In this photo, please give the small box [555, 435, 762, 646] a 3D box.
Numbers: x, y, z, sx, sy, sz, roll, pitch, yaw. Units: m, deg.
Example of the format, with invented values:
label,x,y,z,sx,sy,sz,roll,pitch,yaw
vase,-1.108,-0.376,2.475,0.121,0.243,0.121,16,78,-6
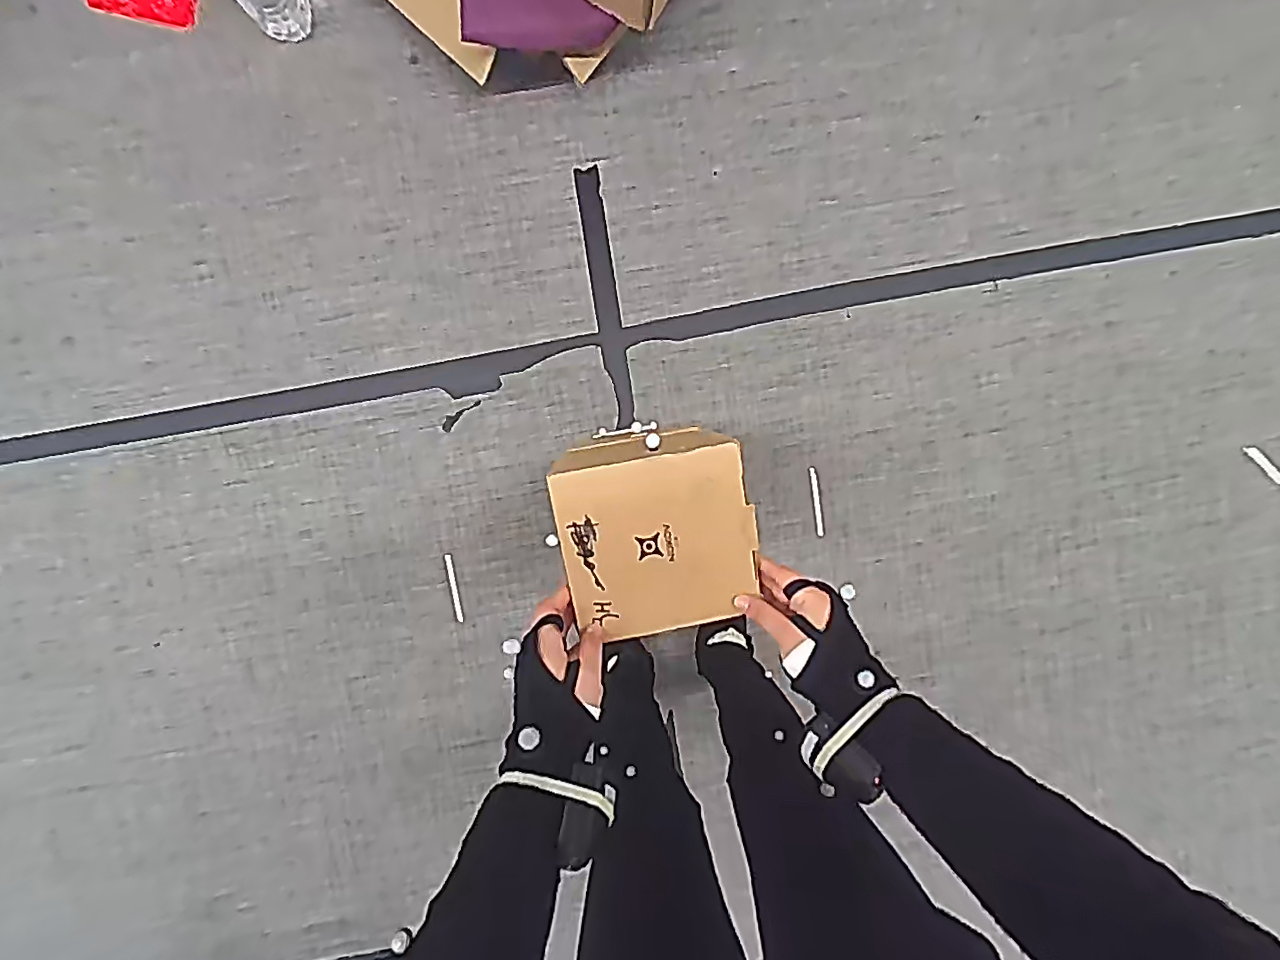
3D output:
label,x,y,z,sx,sy,sz,roll,pitch,yaw
small box,0.012,0.049,0.572,0.179,0.176,0.168,-10,99,-3
